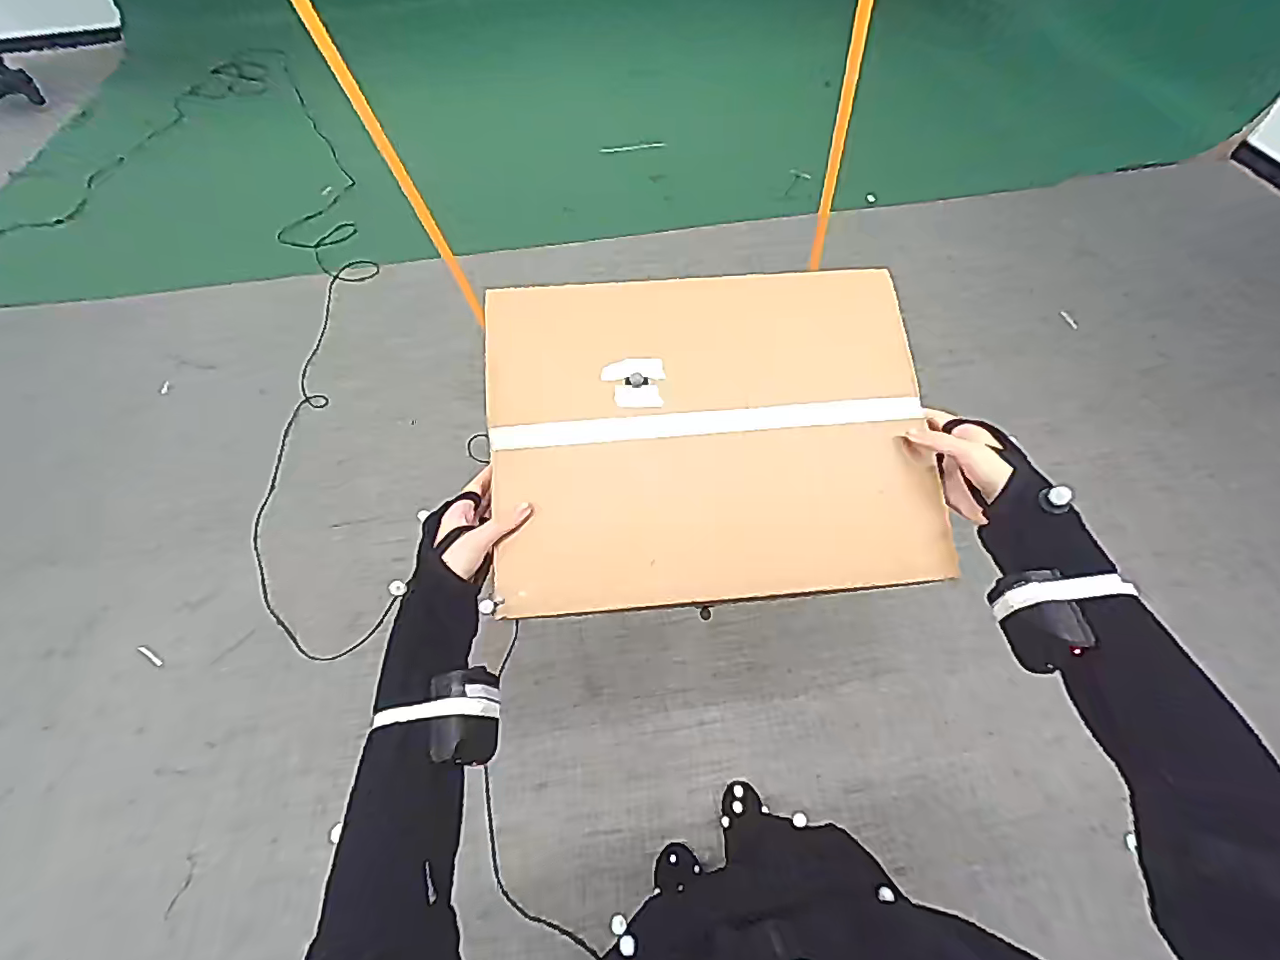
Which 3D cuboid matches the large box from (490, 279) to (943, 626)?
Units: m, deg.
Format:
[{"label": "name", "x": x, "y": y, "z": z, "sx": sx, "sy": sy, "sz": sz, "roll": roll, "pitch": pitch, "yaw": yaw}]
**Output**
[{"label": "large box", "x": 0.061, "y": -0.006, "z": 0.657, "sx": 0.408, "sy": 0.320, "sz": 0.320, "roll": -5, "pitch": 75, "yaw": -3}]
